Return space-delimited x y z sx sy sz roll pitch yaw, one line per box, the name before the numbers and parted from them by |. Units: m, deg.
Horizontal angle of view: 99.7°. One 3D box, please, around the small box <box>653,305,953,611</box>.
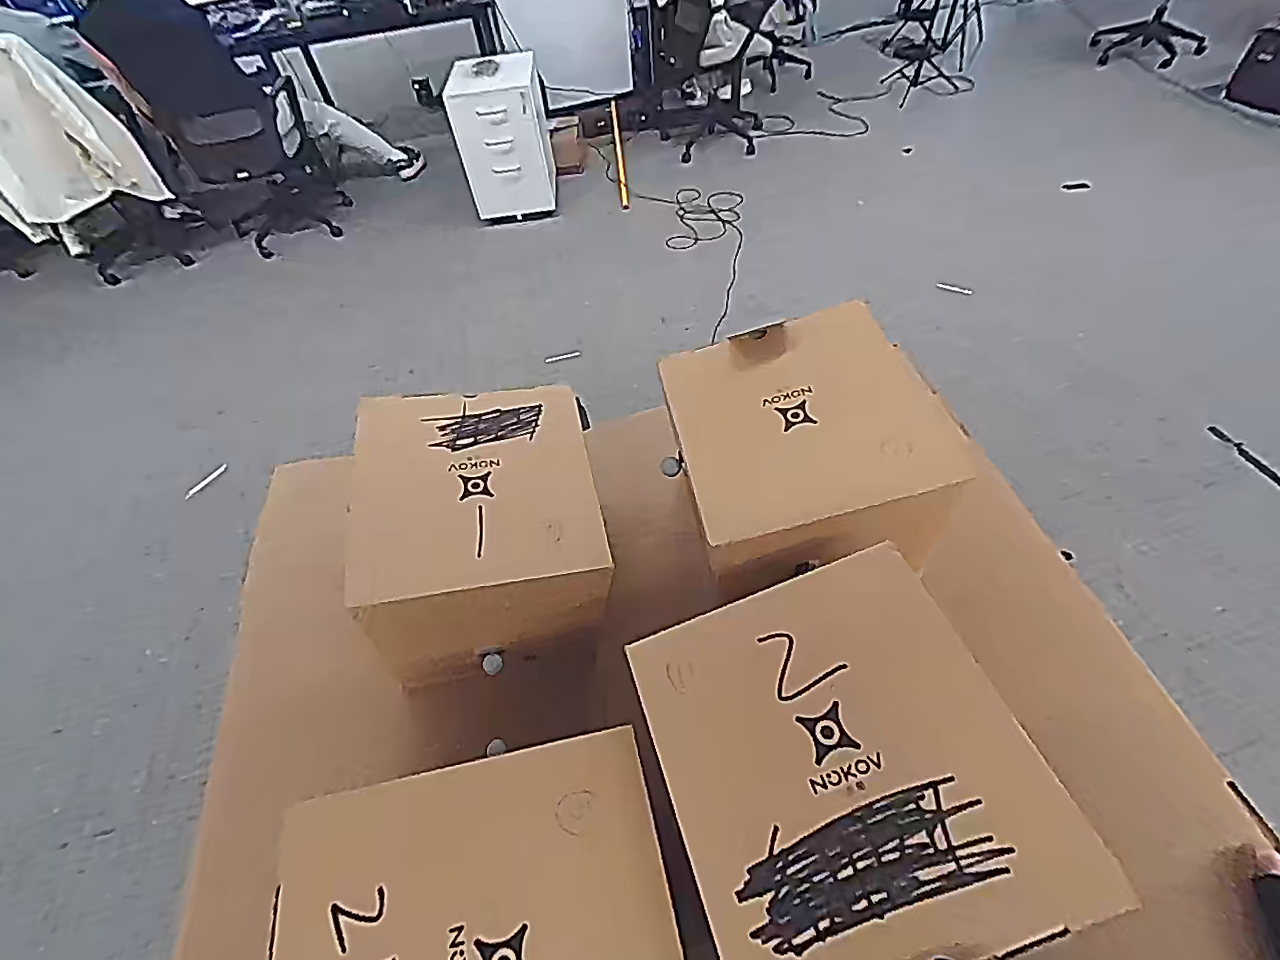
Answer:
small box | 0.121 -0.006 0.450 0.168 0.176 0.179 -16 54 4
